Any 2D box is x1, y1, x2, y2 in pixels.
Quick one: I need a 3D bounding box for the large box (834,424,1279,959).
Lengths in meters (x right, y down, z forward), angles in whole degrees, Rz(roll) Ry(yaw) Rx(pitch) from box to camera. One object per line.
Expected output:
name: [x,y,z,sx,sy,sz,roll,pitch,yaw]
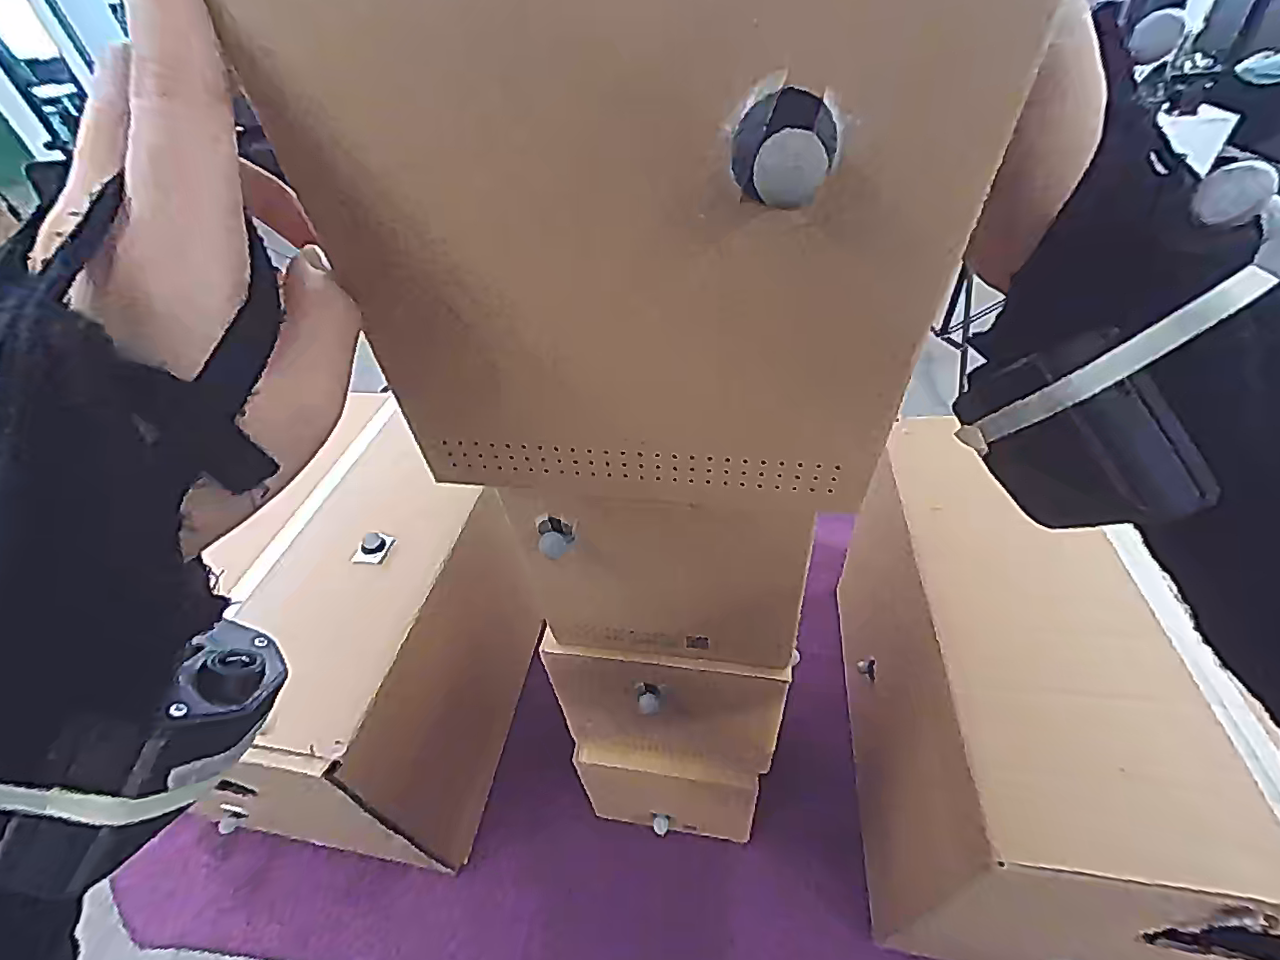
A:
large box: [0.381,0.192,0.509,0.320,0.320,0.408,3,43,10]
